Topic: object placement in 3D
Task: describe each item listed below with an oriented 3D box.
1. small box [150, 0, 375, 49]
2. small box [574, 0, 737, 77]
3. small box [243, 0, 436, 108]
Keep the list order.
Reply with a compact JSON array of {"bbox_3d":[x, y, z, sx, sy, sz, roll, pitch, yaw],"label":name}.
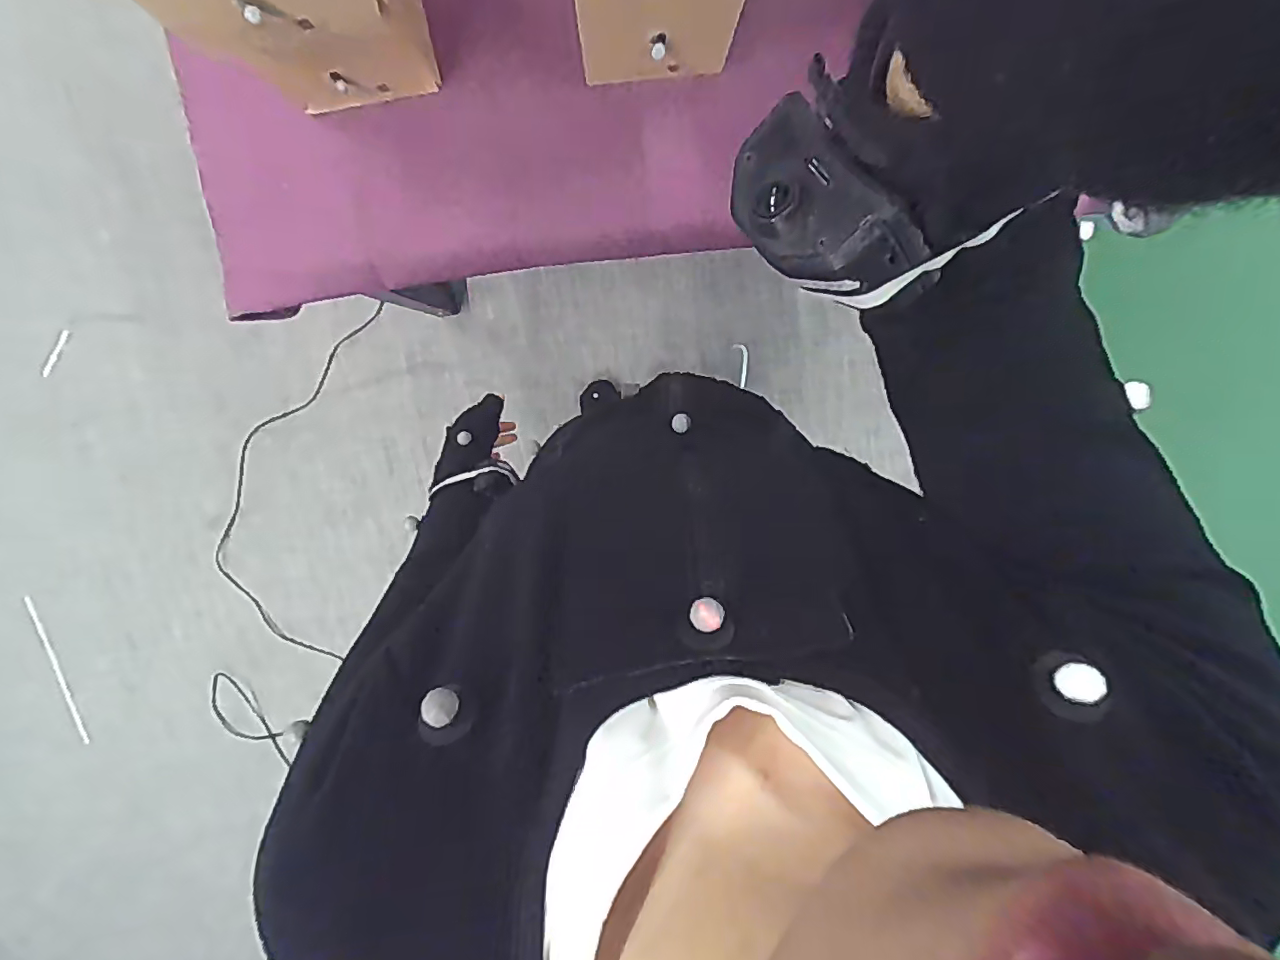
[{"bbox_3d":[-0.320,-0.460,0.384,0.168,0.176,0.179,-9,103,0],"label":"small box"},{"bbox_3d":[0.009,-0.546,0.546,0.168,0.176,0.179,-9,101,1],"label":"small box"},{"bbox_3d":[-0.327,-0.517,0.540,0.168,0.176,0.179,-11,103,0],"label":"small box"}]
